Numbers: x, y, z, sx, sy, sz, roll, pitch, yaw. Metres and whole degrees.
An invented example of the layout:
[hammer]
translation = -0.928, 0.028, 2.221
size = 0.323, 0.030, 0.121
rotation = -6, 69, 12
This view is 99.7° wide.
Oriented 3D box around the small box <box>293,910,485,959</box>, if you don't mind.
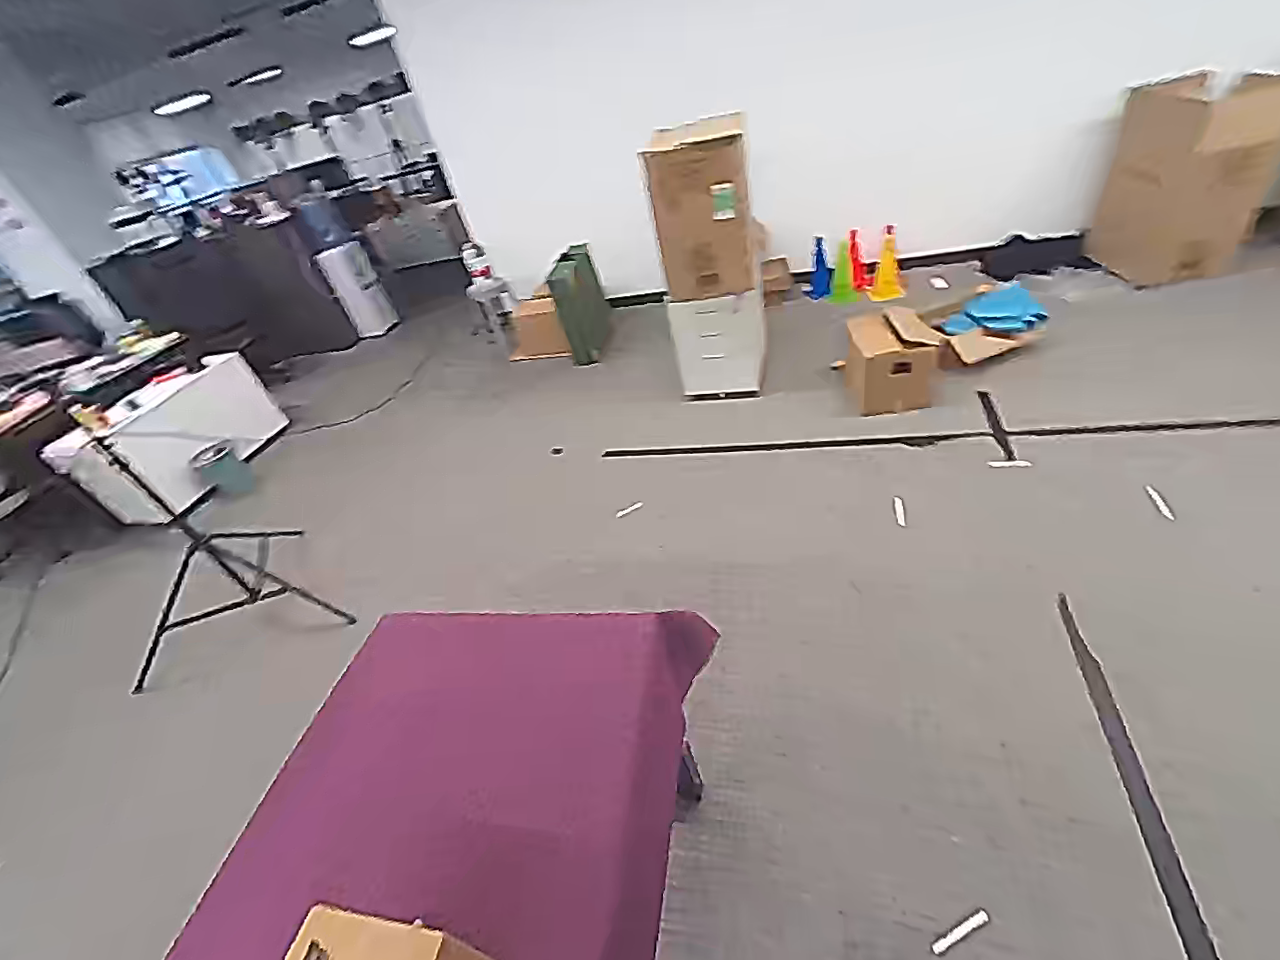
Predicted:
[small box]
translation = -0.279, 0.596, 0.577
size = 0.179, 0.176, 0.168
rotation = -3, 39, 16
